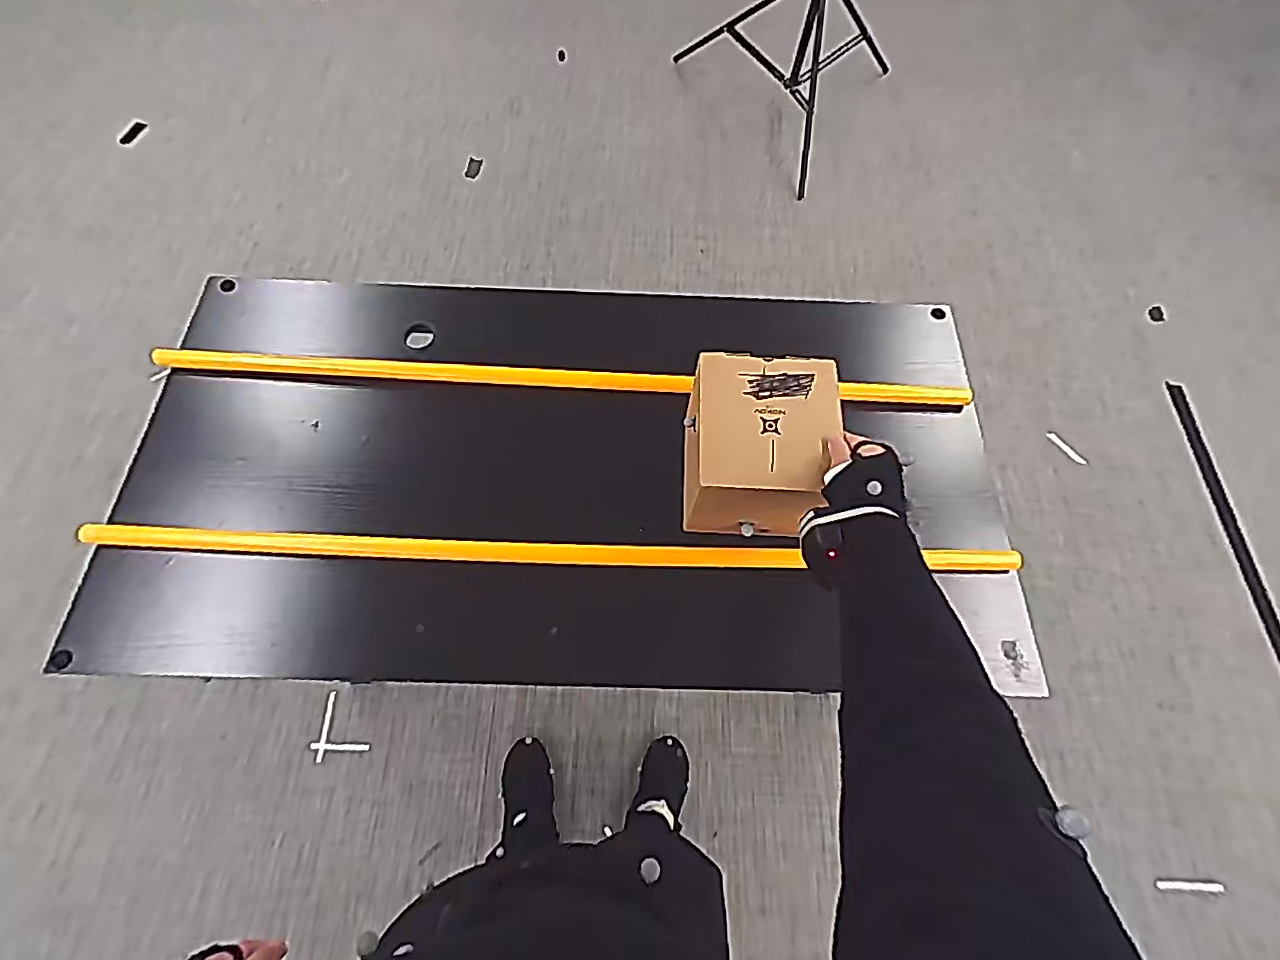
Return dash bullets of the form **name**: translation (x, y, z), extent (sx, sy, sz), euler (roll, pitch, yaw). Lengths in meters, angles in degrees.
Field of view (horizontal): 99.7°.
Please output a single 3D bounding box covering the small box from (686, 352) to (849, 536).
- **small box**: translation (0.149, -0.039, 0.694), extent (0.168, 0.176, 0.179), euler (3, 68, 0)
